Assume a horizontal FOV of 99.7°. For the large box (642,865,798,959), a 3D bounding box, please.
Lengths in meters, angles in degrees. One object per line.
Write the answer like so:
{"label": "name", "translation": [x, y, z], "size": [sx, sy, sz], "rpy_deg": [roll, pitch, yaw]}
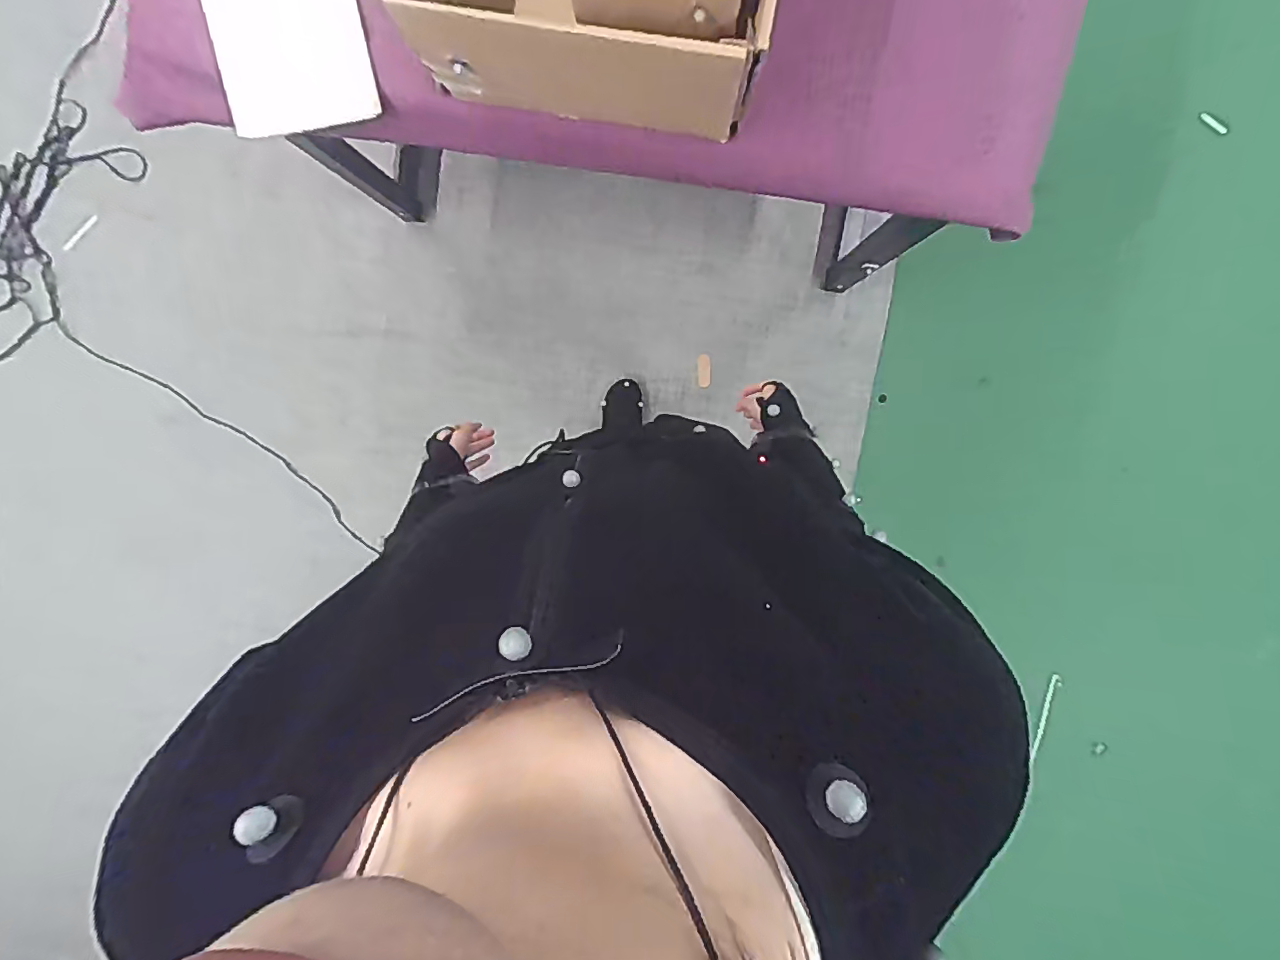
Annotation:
{"label": "large box", "translation": [0.223, 1.368, 1.537], "size": [0.408, 0.320, 0.320], "rpy_deg": [-6, 98, 2]}
